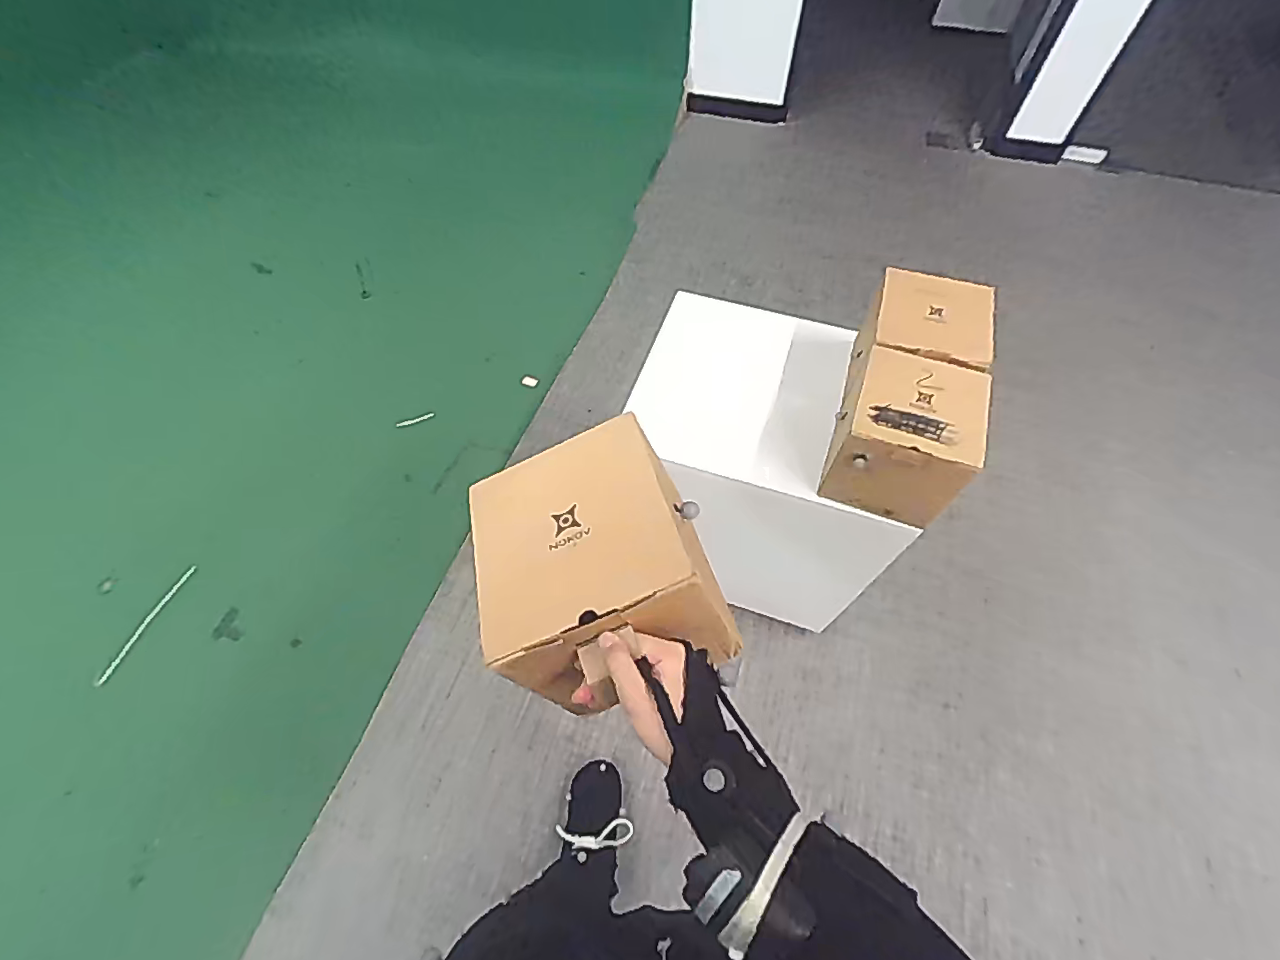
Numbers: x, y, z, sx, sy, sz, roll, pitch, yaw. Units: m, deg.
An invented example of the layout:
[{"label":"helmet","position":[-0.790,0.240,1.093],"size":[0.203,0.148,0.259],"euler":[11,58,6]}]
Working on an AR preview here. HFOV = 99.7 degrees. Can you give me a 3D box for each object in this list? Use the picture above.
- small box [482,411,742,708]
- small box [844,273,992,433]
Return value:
[{"label":"small box","position":[-0.023,0.076,0.487],"size":[0.168,0.176,0.179],"euler":[-23,50,5]},{"label":"small box","position":[0.448,-0.203,0.889],"size":[0.168,0.176,0.179],"euler":[16,59,9]}]
